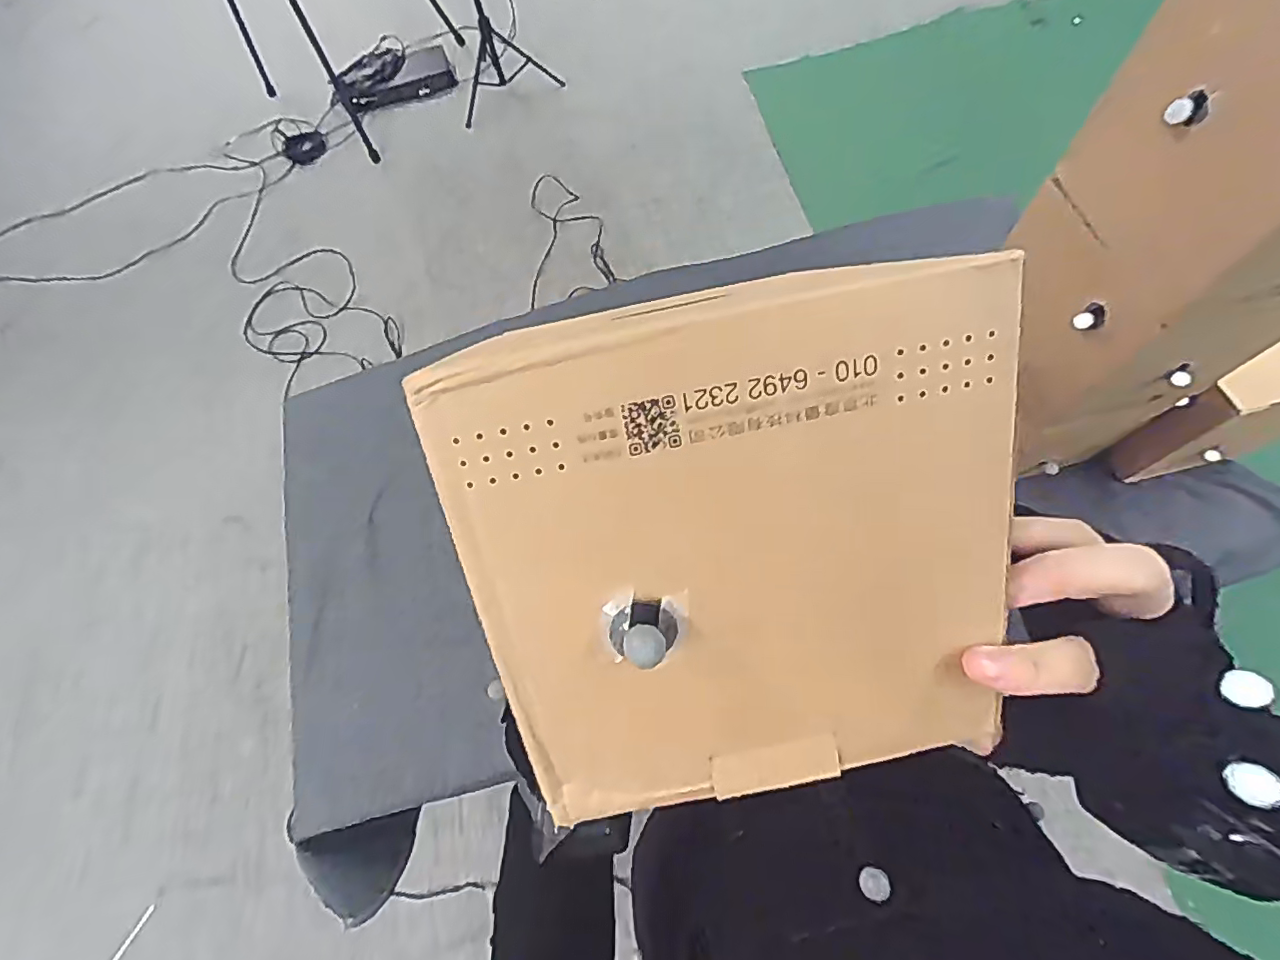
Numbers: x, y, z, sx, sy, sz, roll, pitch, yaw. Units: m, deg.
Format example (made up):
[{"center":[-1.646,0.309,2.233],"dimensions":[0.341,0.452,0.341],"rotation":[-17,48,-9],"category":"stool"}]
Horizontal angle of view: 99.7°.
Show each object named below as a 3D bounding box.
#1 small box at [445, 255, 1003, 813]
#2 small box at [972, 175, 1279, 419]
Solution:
[{"center":[0.029,0.001,0.249],"dimensions":[0.168,0.179,0.176],"rotation":[-11,110,-1],"category":"small box"},{"center":[0.462,-0.175,0.512],"dimensions":[0.168,0.176,0.179],"rotation":[-13,66,1],"category":"small box"}]
